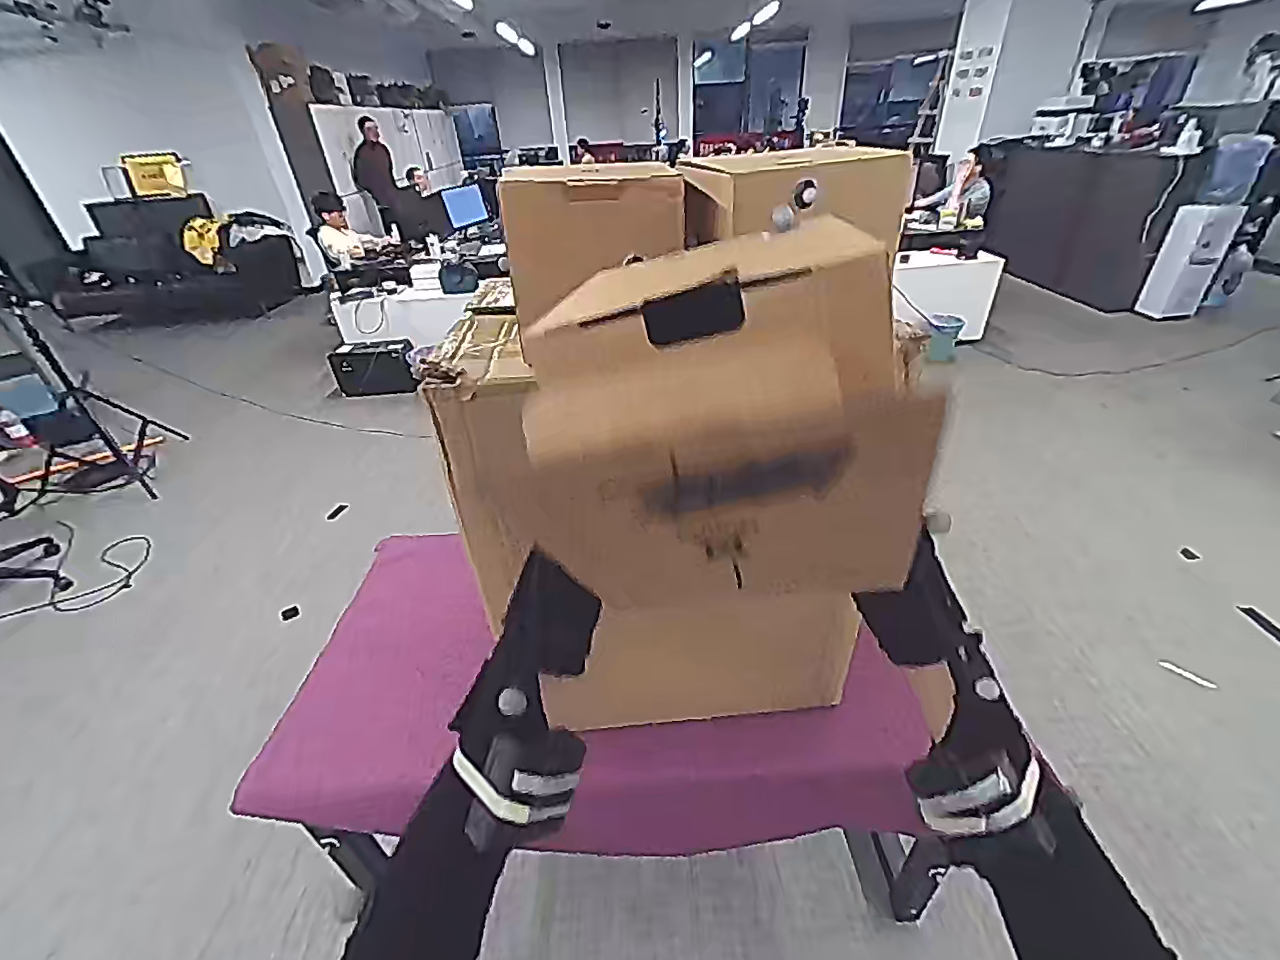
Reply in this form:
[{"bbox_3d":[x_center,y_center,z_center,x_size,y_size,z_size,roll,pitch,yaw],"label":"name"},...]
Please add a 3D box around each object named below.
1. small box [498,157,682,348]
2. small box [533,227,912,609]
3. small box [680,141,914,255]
[{"bbox_3d":[-0.047,-0.243,0.580,0.168,0.176,0.179,-4,32,-5],"label":"small box"},{"bbox_3d":[0.058,-0.047,0.337,0.168,0.179,0.176,-8,28,15],"label":"small box"},{"bbox_3d":[0.143,-0.244,0.560,0.168,0.176,0.179,-11,33,-8],"label":"small box"}]
